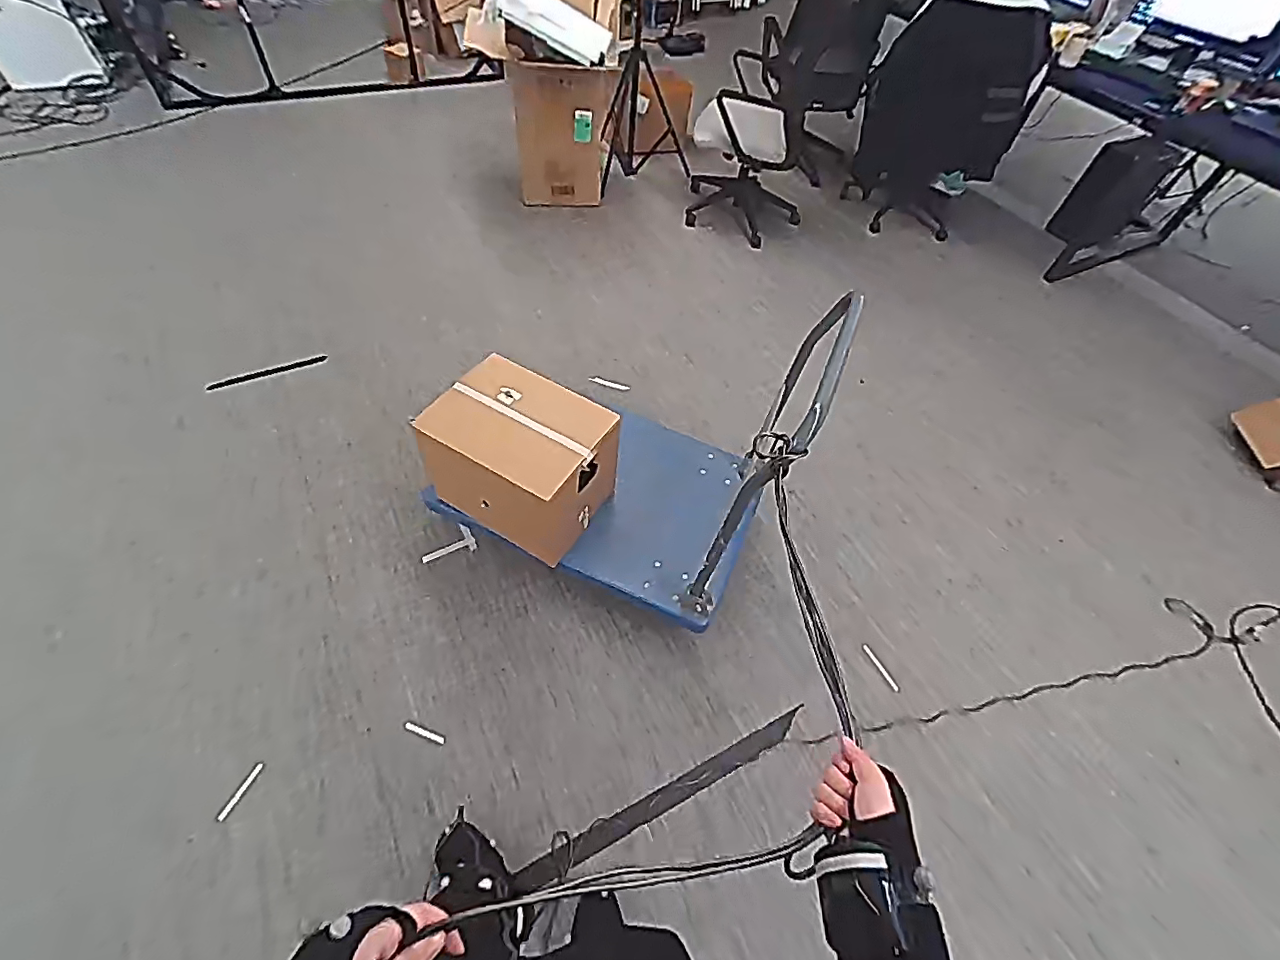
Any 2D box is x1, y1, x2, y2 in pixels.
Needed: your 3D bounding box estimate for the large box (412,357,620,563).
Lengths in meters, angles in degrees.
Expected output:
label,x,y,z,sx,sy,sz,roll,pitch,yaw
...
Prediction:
label,x,y,z,sx,sy,sz,roll,pitch,yaw
large box,-0.300,-0.051,1.417,0.408,0.320,0.320,27,55,14
